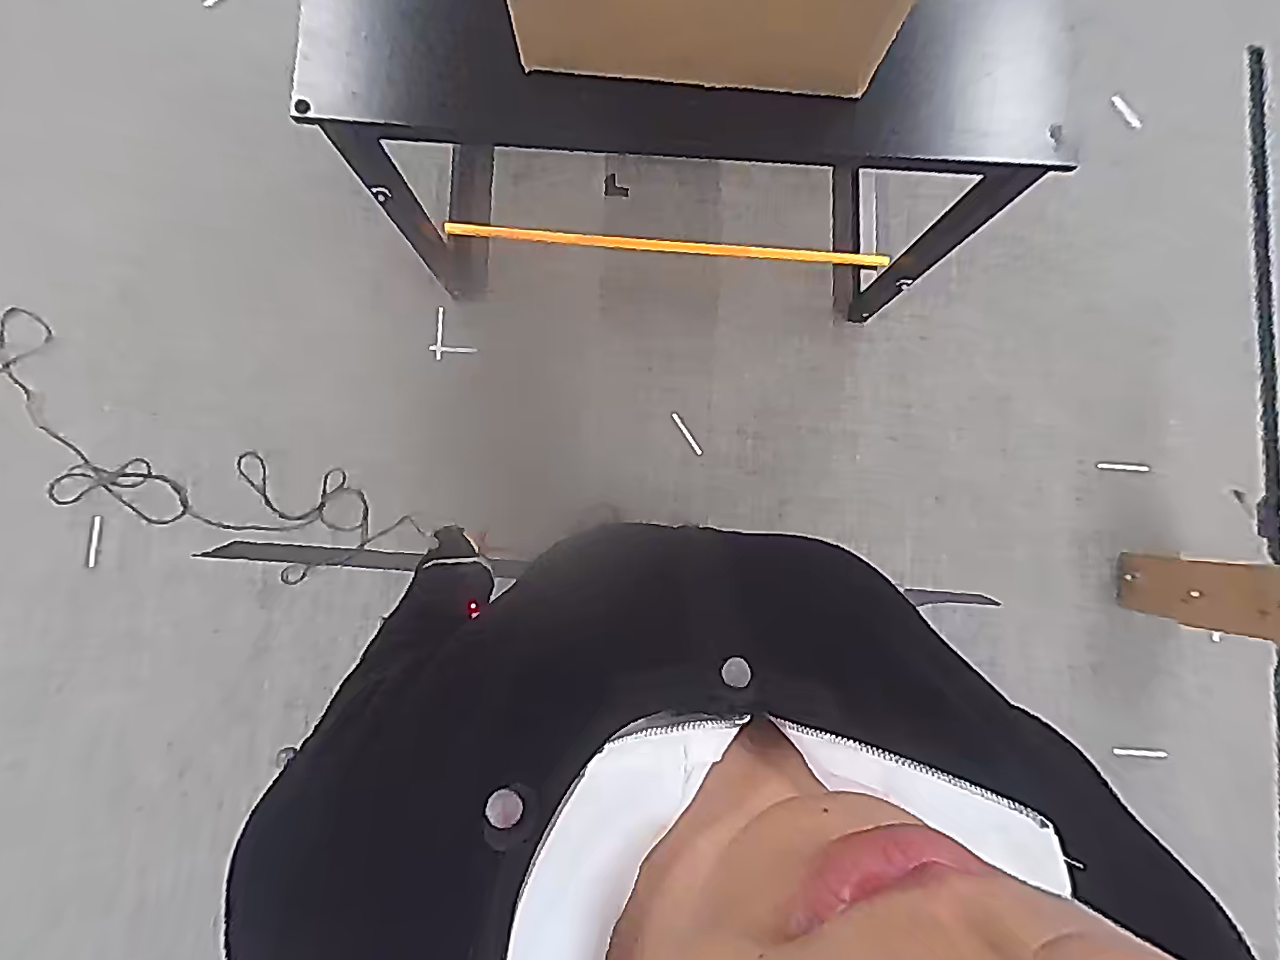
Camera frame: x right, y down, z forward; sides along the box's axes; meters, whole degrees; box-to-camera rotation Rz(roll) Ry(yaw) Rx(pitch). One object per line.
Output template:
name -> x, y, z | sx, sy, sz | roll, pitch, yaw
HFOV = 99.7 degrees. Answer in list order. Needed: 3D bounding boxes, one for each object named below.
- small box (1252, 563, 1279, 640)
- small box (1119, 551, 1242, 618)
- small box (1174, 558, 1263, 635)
small box -> 1.455, 0.266, 1.134 | 0.179, 0.176, 0.168 | 4, 86, -1
small box -> 1.456, 0.282, 1.463 | 0.179, 0.176, 0.168 | 3, 85, 0
small box -> 1.452, 0.278, 1.298 | 0.179, 0.176, 0.168 | 4, 85, -1
